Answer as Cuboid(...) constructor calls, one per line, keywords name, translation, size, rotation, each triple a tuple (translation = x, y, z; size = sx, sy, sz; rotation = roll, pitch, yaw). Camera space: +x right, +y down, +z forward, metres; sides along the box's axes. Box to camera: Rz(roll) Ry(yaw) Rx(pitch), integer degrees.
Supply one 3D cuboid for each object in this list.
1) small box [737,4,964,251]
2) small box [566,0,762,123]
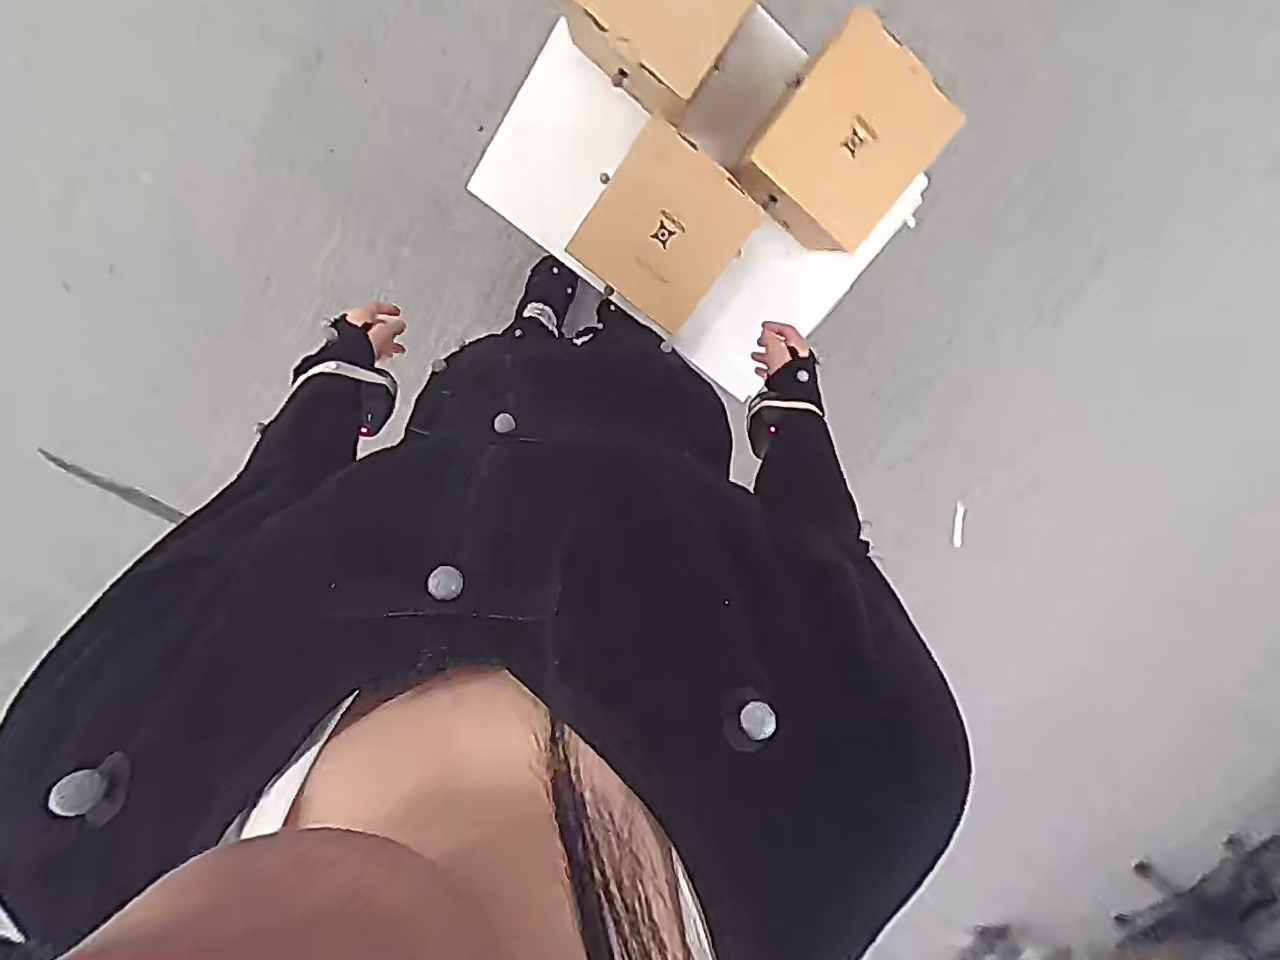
Cuboid(name="small box", translation=(0.238, -0.406, 0.665), size=(0.168, 0.176, 0.179), rotation=(35, 108, -15))
Cuboid(name="small box", translation=(0.035, -0.540, 0.600), size=(0.168, 0.176, 0.179), rotation=(35, 109, -16))
